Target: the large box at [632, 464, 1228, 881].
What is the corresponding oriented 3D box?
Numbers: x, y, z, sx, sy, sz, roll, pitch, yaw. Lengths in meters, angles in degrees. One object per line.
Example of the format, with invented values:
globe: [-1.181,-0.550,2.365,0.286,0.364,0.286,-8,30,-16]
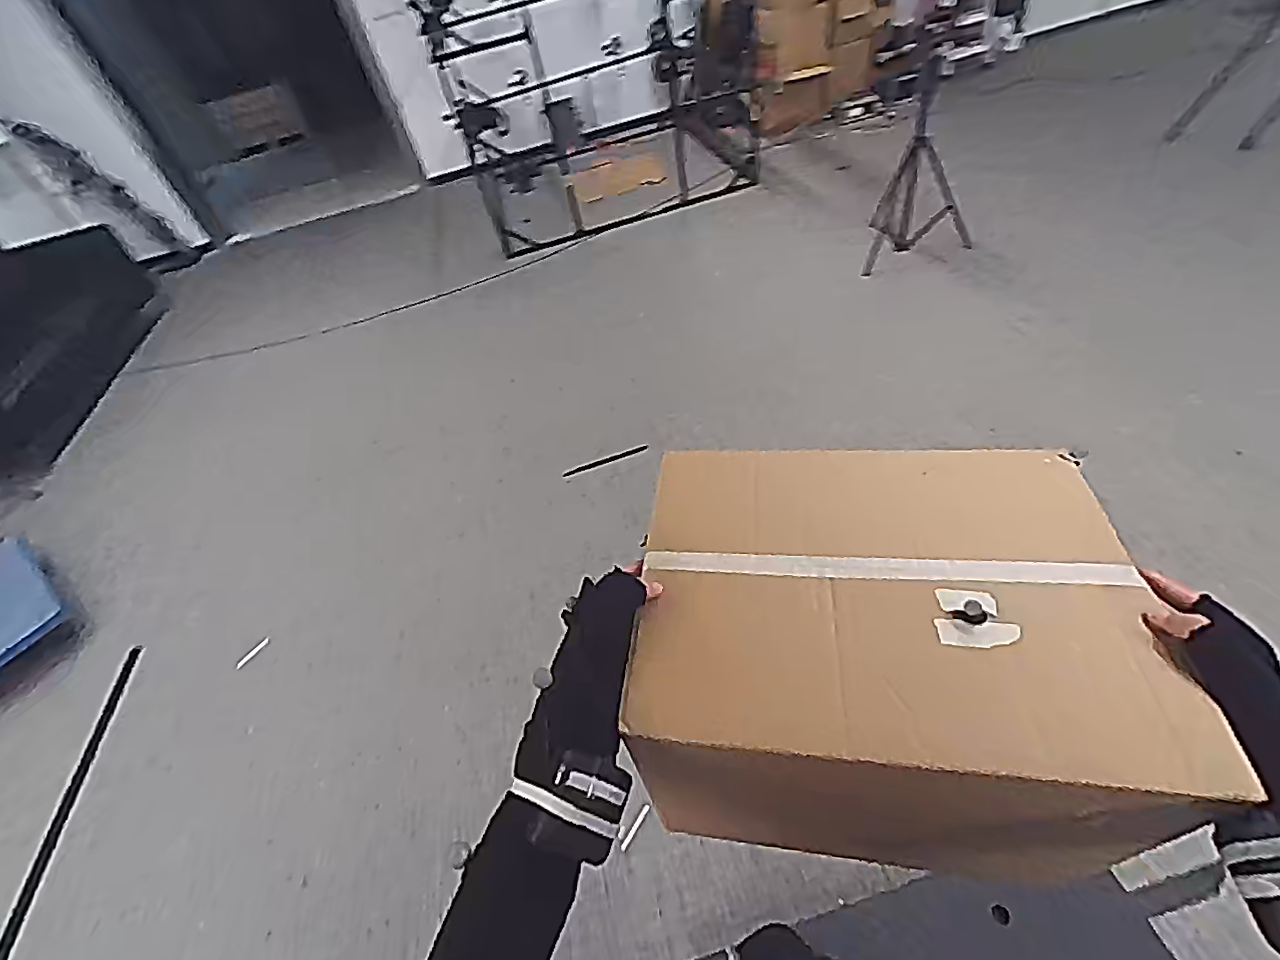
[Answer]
large box: [0.227,0.195,0.590,0.408,0.320,0.320,1,46,12]
